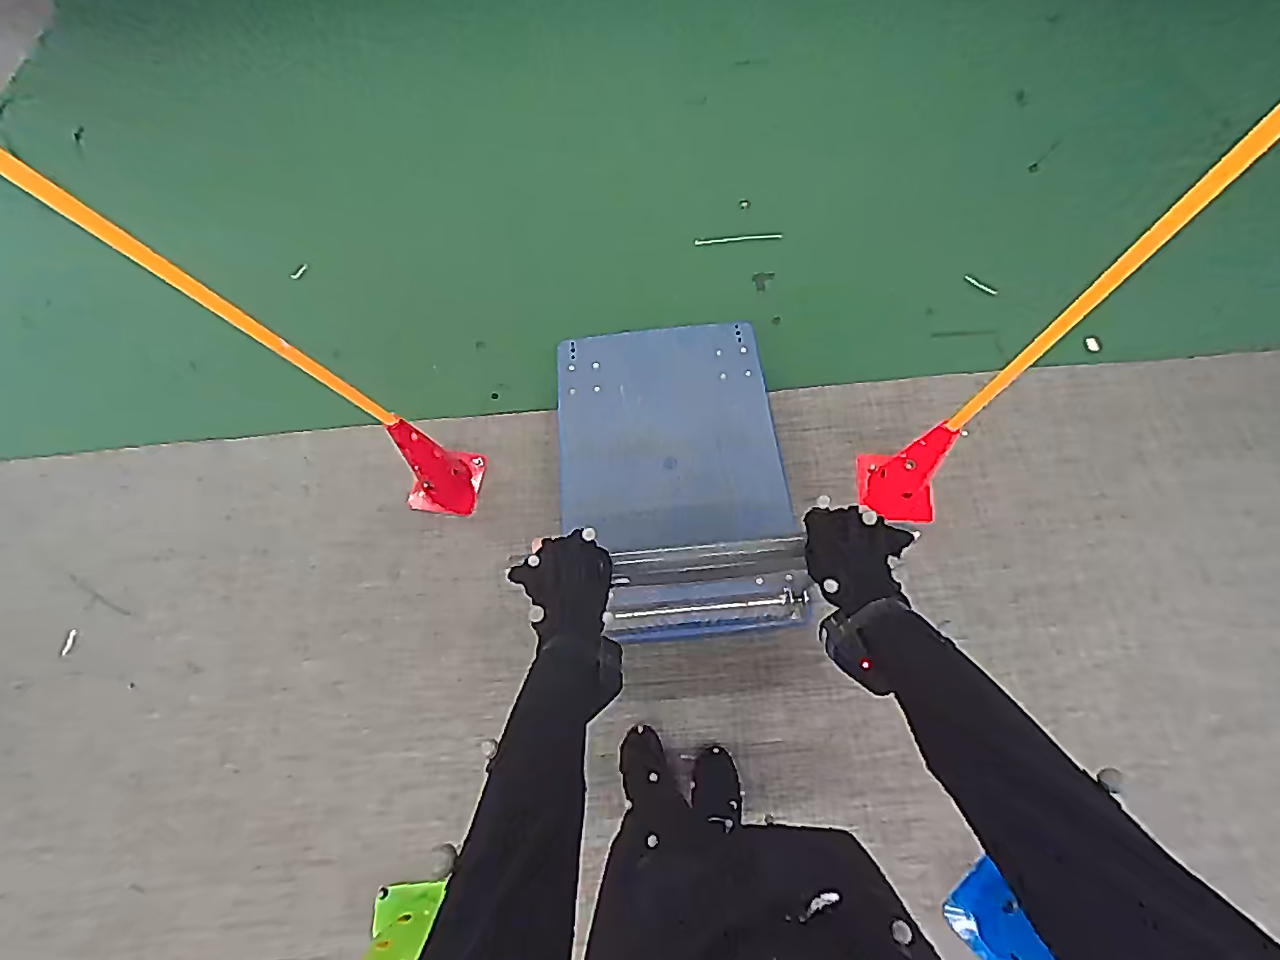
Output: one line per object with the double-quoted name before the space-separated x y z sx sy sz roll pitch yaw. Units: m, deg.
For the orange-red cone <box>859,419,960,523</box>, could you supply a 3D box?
"orange-red cone" 0.705 -0.047 1.359 0.198 0.360 0.199 5 67 7
